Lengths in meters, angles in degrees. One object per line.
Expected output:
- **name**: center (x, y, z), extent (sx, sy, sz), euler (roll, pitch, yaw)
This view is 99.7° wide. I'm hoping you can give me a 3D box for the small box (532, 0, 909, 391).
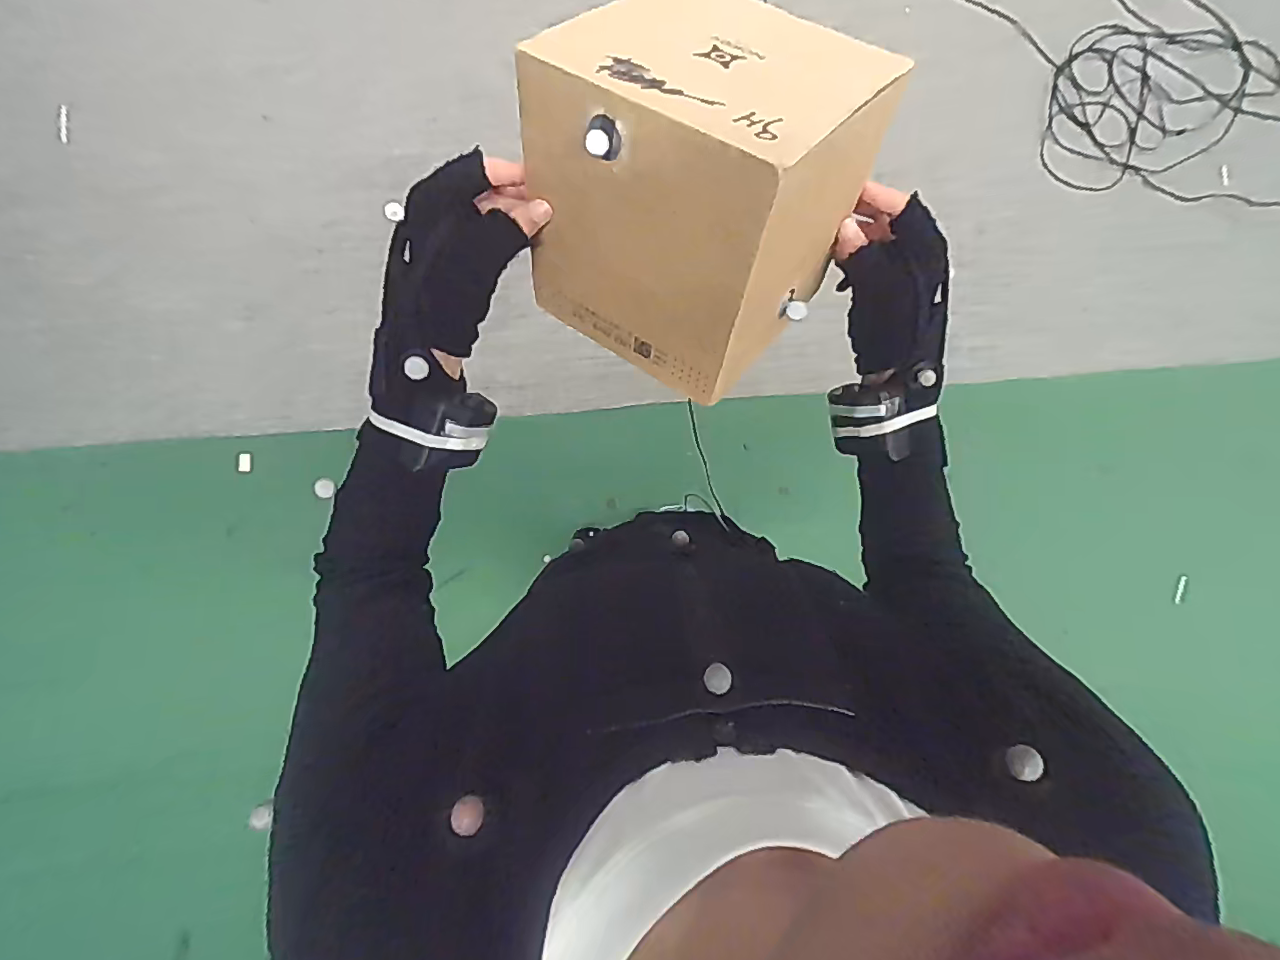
- **small box**: center (0.044, -0.199, 0.378), extent (0.168, 0.176, 0.179), euler (34, 60, 15)
